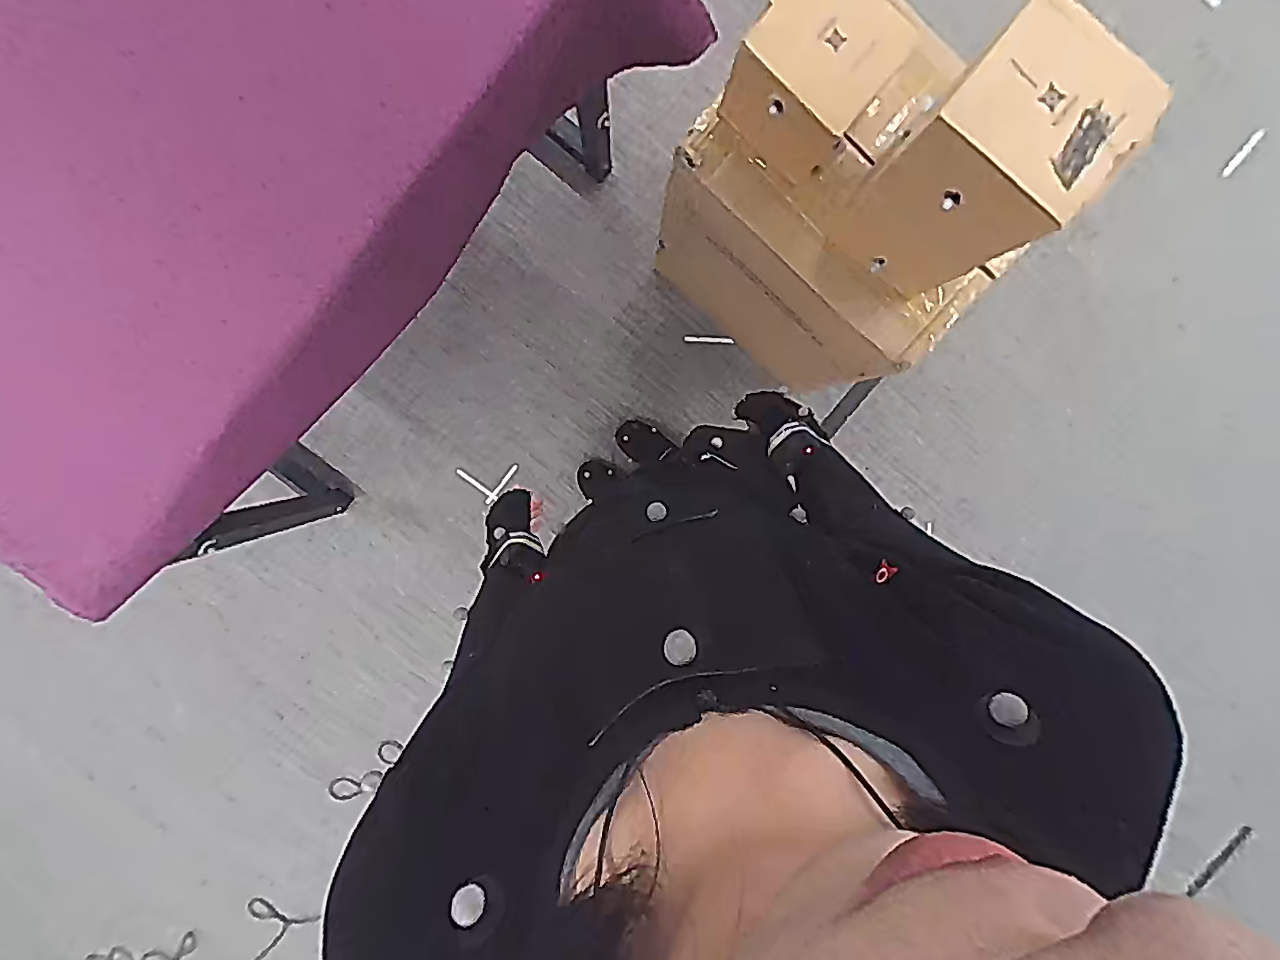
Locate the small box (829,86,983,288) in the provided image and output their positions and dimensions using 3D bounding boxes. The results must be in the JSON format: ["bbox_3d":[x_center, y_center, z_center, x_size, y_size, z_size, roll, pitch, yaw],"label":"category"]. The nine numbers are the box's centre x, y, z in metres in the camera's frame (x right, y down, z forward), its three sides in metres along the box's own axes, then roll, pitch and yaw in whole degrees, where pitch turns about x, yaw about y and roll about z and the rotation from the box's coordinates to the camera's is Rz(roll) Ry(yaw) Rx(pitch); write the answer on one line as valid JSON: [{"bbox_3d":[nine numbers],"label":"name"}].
[{"bbox_3d":[0.413,-0.401,0.783,0.179,0.176,0.168,34,94,-4],"label":"small box"}]

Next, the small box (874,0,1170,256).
[{"bbox_3d":[0.412,-0.384,0.618,0.179,0.176,0.168,39,94,-3],"label":"small box"}]
